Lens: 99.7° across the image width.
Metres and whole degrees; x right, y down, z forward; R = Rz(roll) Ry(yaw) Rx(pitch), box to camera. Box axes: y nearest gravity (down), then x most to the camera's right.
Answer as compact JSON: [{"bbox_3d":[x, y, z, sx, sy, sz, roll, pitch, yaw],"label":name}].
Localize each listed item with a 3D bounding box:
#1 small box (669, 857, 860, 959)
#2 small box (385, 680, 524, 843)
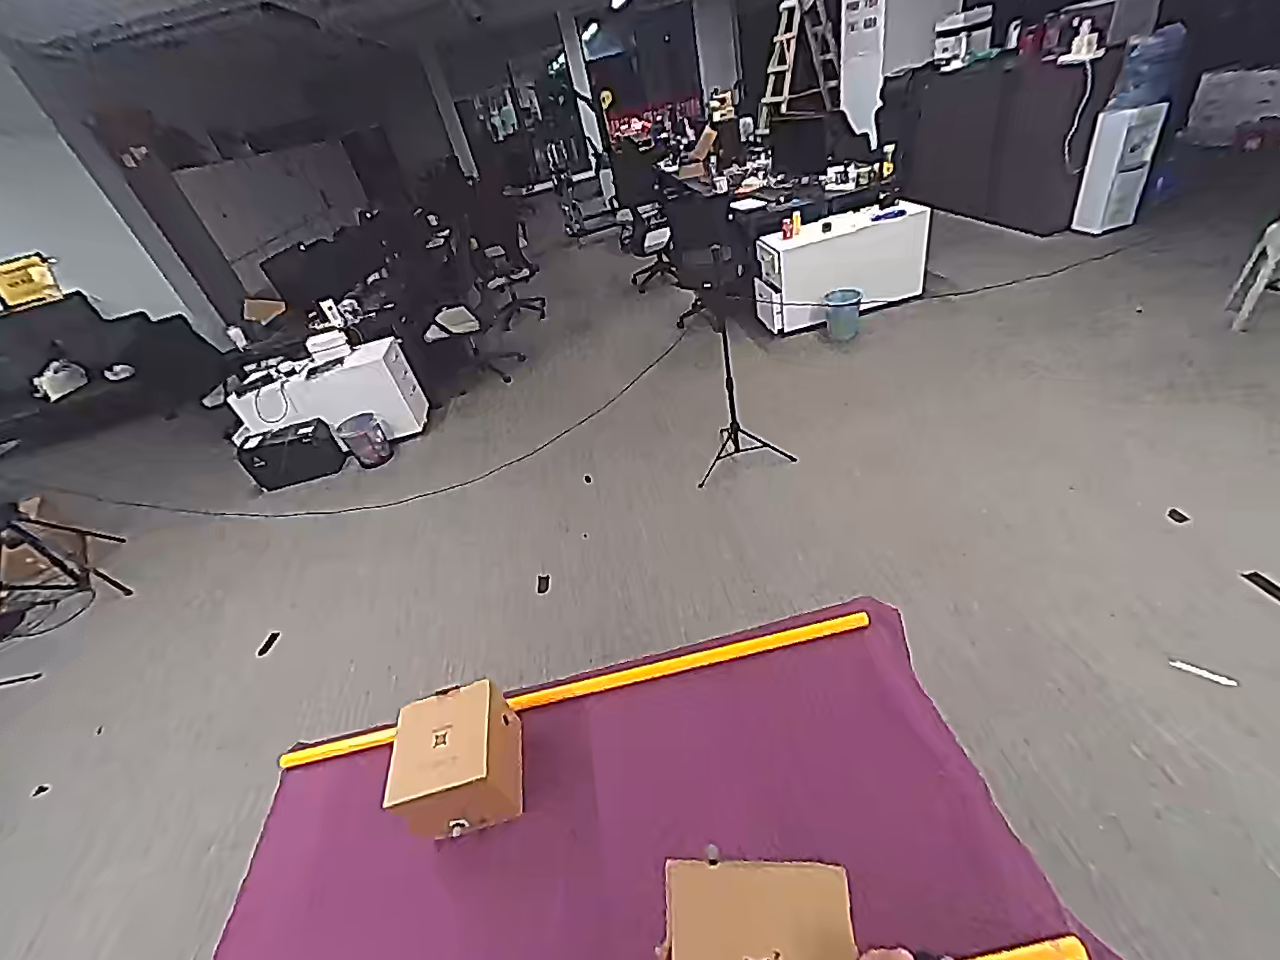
[{"bbox_3d":[0.118,0.495,0.559,0.179,0.176,0.168,0,57,1],"label":"small box"},{"bbox_3d":[-0.308,0.486,0.937,0.168,0.176,0.179,-17,37,-1],"label":"small box"}]
